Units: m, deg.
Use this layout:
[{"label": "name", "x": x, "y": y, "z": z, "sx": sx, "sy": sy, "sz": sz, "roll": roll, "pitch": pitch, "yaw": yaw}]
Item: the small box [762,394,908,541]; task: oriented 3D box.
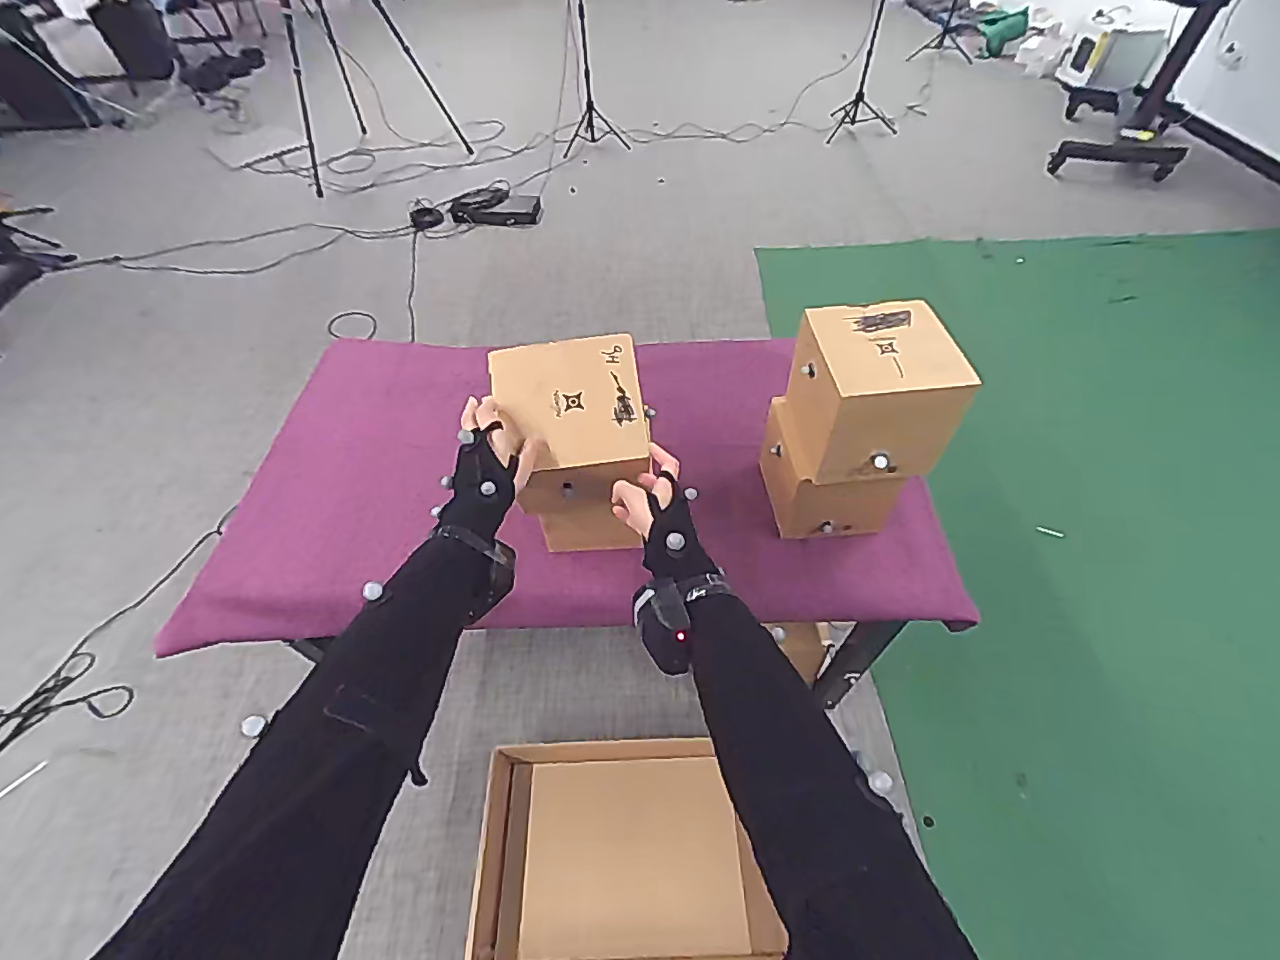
[{"label": "small box", "x": 0.299, "y": -0.023, "z": 0.867, "sx": 0.168, "sy": 0.176, "sz": 0.179, "roll": -5, "pitch": 51, "yaw": 1}]

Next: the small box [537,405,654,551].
[{"label": "small box", "x": -0.068, "y": 0.000, "z": 0.866, "sx": 0.179, "sy": 0.176, "sz": 0.168, "roll": -3, "pitch": 51, "yaw": 1}]

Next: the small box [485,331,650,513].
[{"label": "small box", "x": -0.086, "y": -0.064, "z": 0.693, "sx": 0.179, "sy": 0.176, "sz": 0.168, "roll": -8, "pitch": 71, "yaw": 0}]

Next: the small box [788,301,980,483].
[{"label": "small box", "x": 0.308, "y": -0.117, "z": 0.732, "sx": 0.168, "sy": 0.176, "sz": 0.179, "roll": -5, "pitch": 51, "yaw": 1}]
